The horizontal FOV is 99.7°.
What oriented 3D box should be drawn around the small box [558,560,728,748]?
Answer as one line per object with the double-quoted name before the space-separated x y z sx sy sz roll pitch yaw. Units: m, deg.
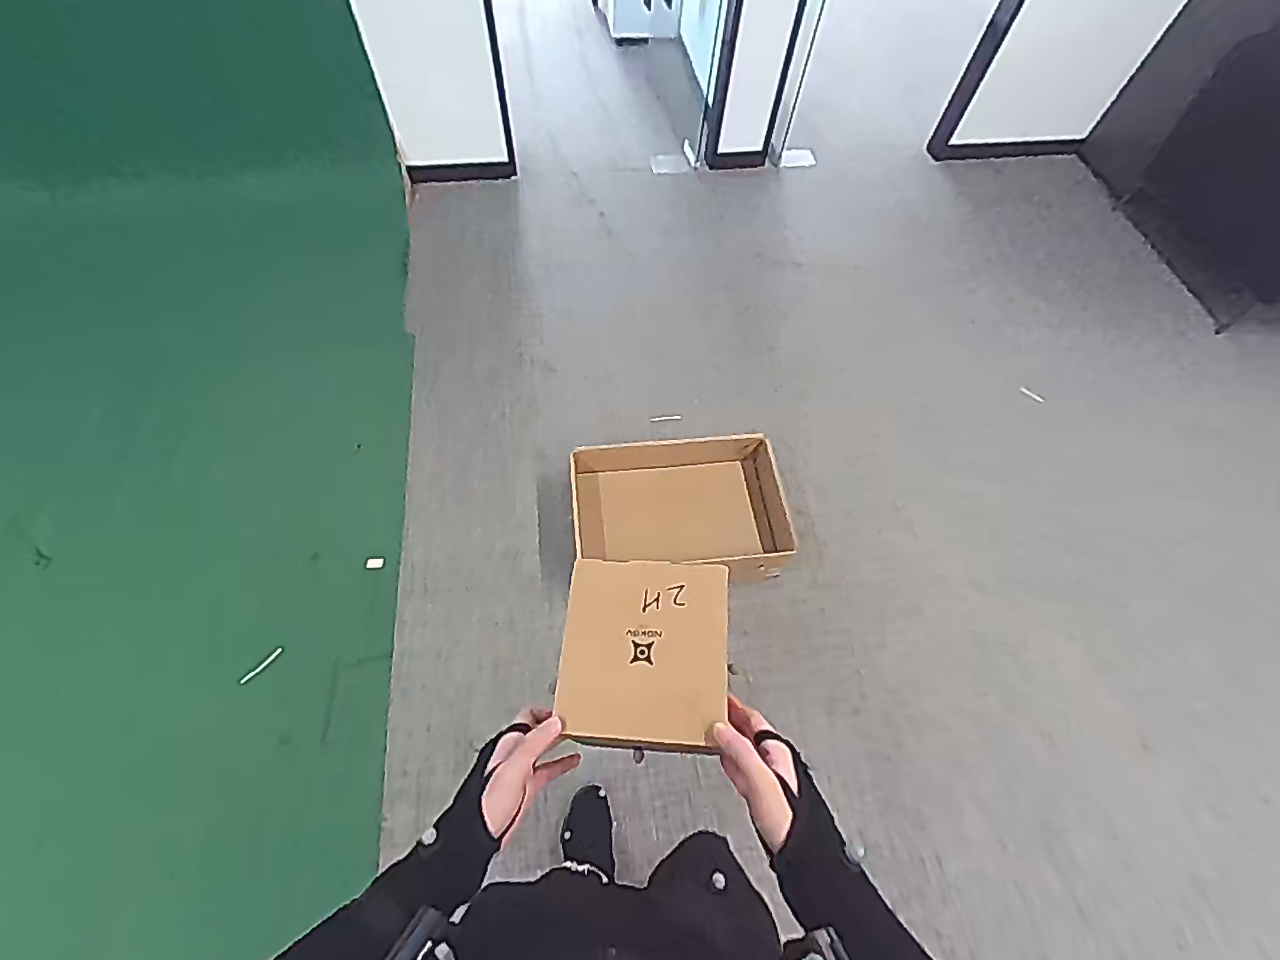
"small box" 0.015 0.203 0.618 0.168 0.176 0.179 1 61 7
